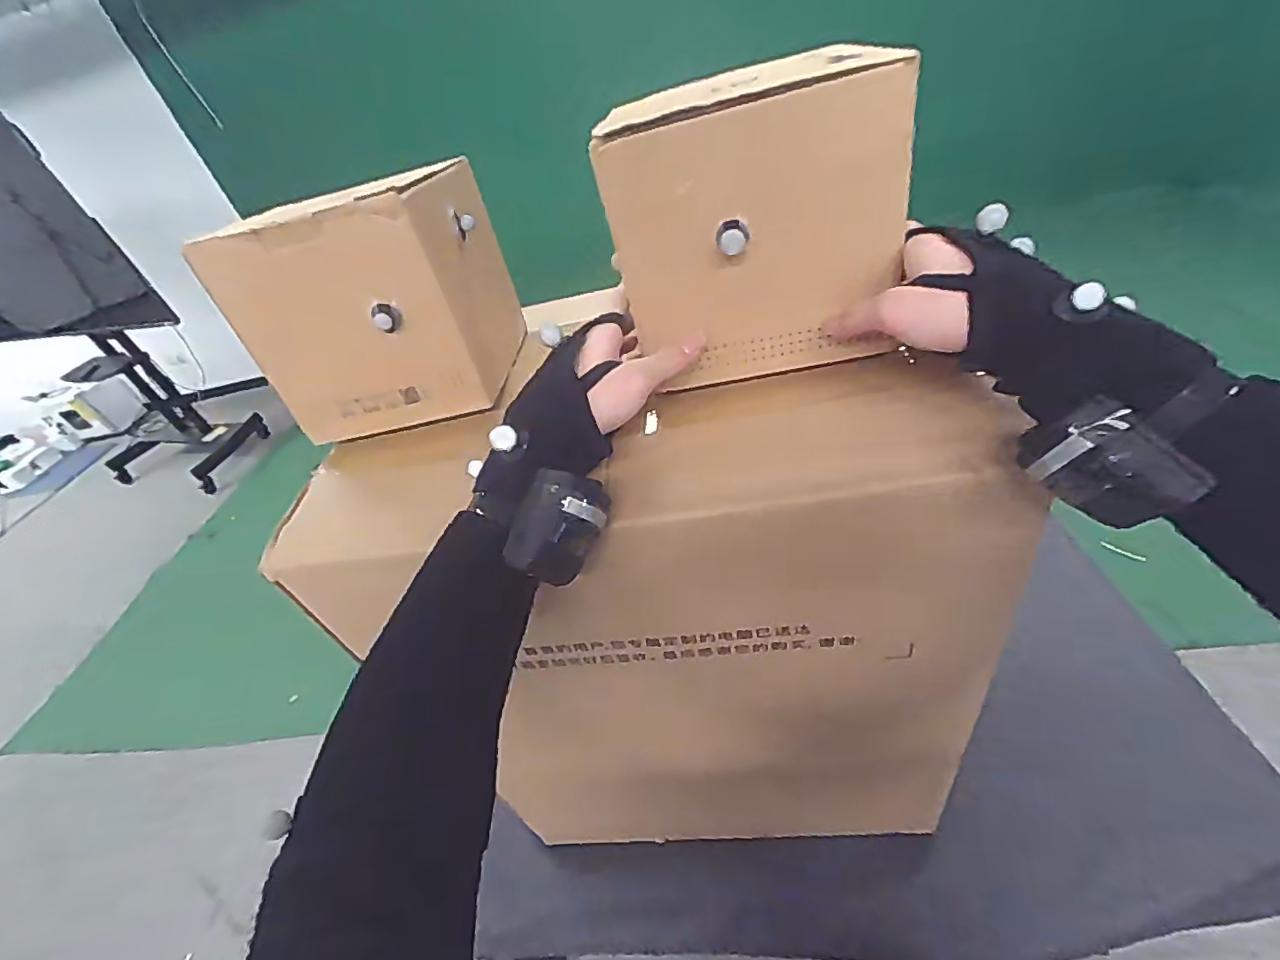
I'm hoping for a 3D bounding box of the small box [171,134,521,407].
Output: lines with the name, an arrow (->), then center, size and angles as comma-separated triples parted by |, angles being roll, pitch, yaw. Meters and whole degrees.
small box -> -0.213, -0.171, 0.457 | 0.168, 0.176, 0.179 | -9, 34, 6
